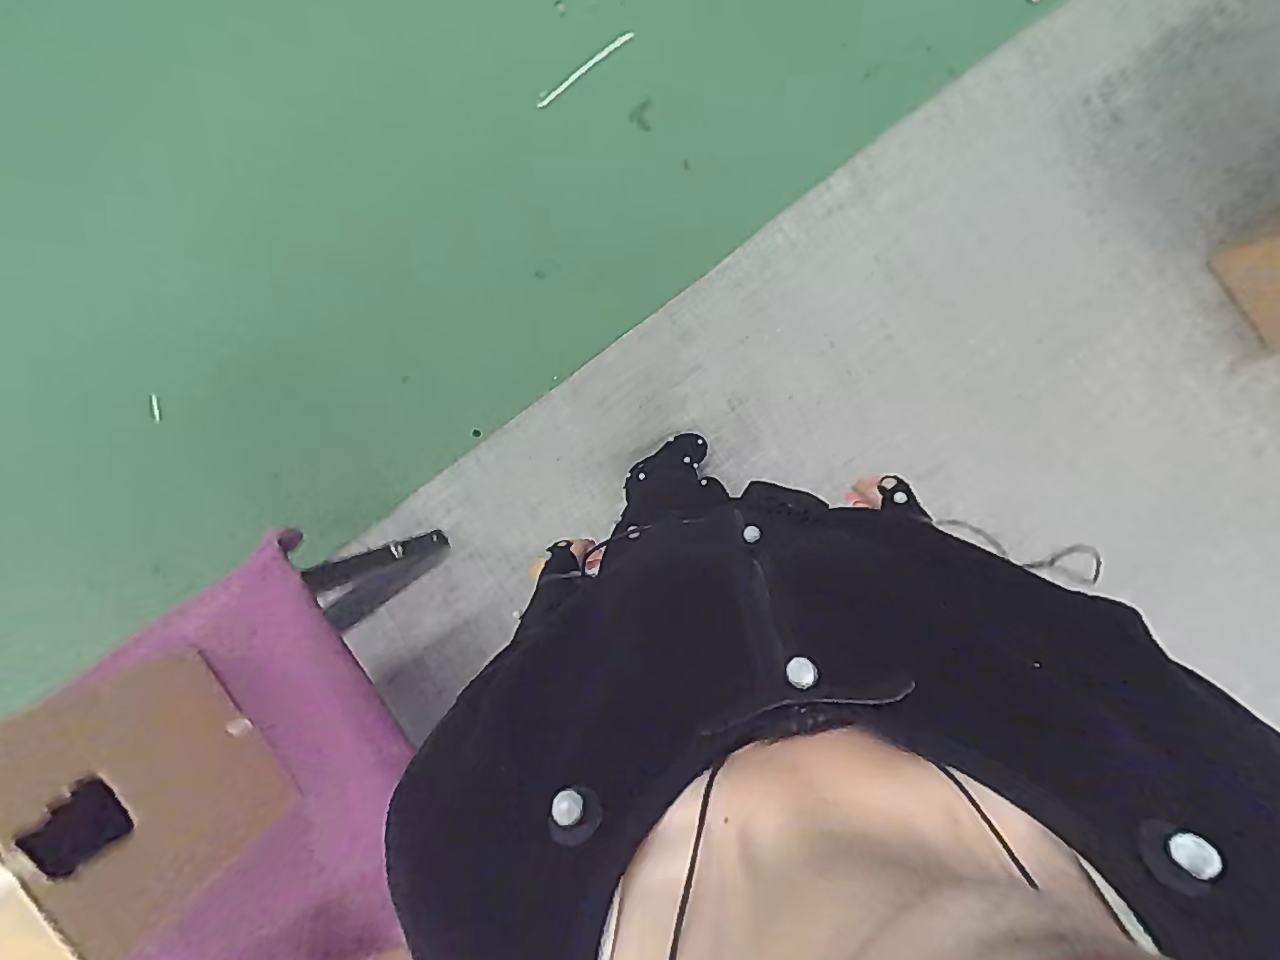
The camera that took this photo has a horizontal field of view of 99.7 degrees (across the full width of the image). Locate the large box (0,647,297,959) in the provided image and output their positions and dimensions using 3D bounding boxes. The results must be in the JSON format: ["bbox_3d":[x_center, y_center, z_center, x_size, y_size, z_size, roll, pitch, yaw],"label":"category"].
[{"bbox_3d":[-0.789,0.501,0.719,0.408,0.320,0.320,-36,91,4],"label":"large box"}]
